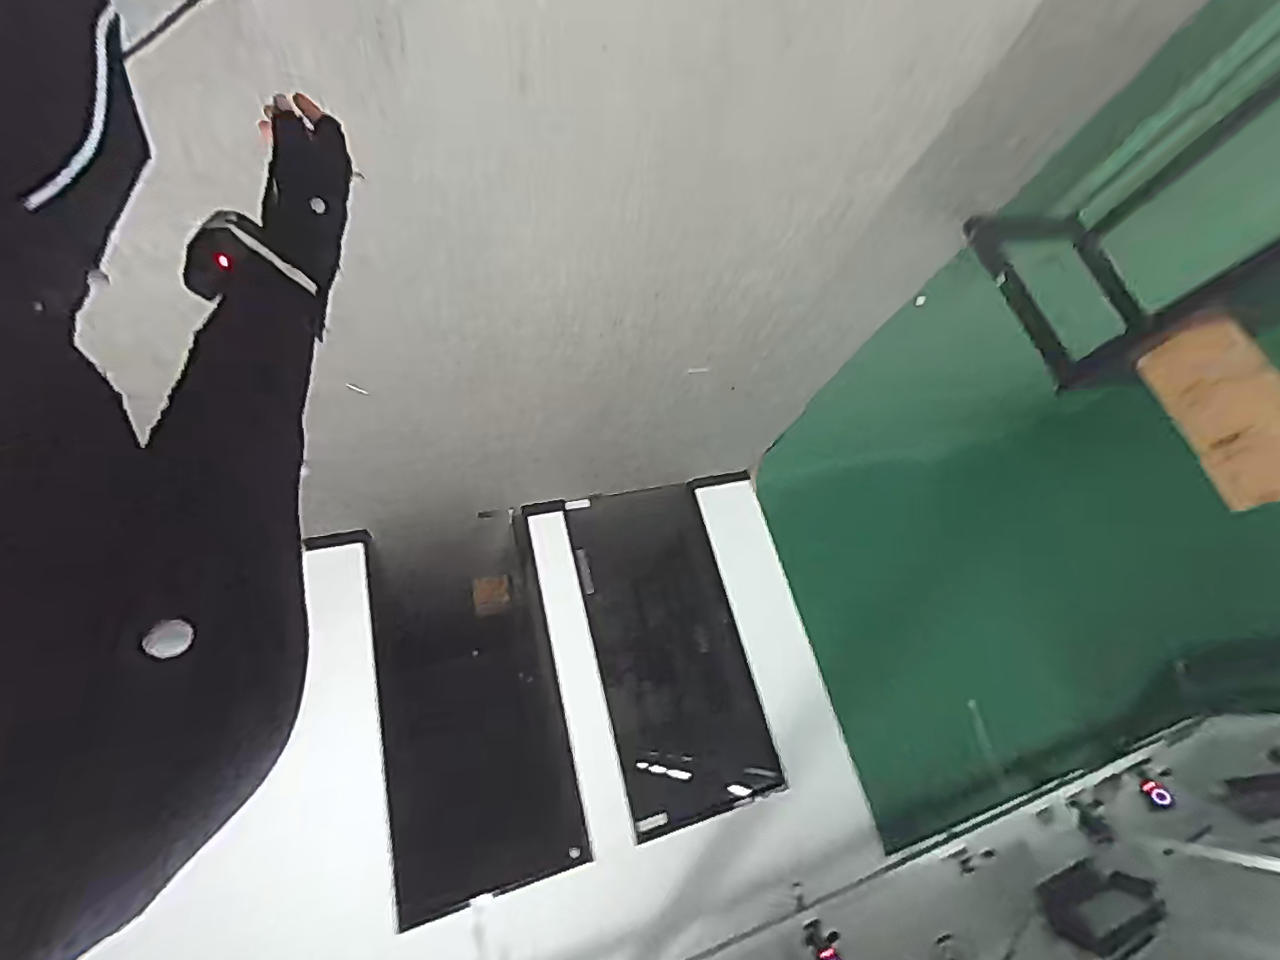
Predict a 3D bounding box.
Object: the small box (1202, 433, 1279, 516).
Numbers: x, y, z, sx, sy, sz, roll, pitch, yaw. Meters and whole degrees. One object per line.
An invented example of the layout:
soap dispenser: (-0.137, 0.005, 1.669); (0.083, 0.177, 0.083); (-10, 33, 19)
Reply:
small box: (1.711, -0.022, 1.468); (0.179, 0.176, 0.168); (-12, 161, -13)

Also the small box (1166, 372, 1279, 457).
small box: (1.666, -0.188, 1.522); (0.179, 0.176, 0.168); (-12, 160, -12)
